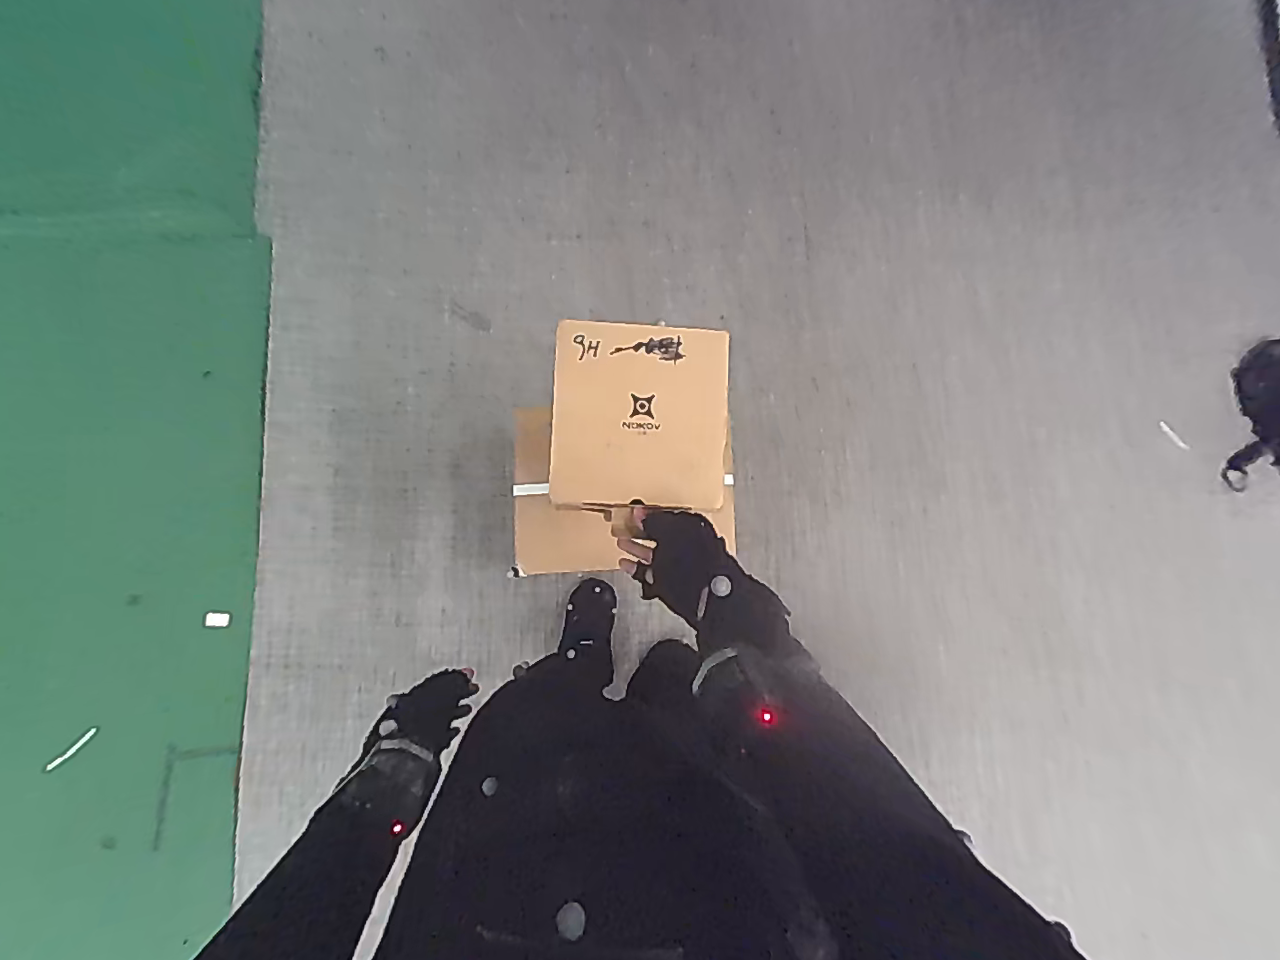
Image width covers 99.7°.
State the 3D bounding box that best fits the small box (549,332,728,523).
[{"bbox_3d":[-0.006,-0.047,0.595,0.168,0.176,0.179,3,87,-5],"label":"small box"}]
